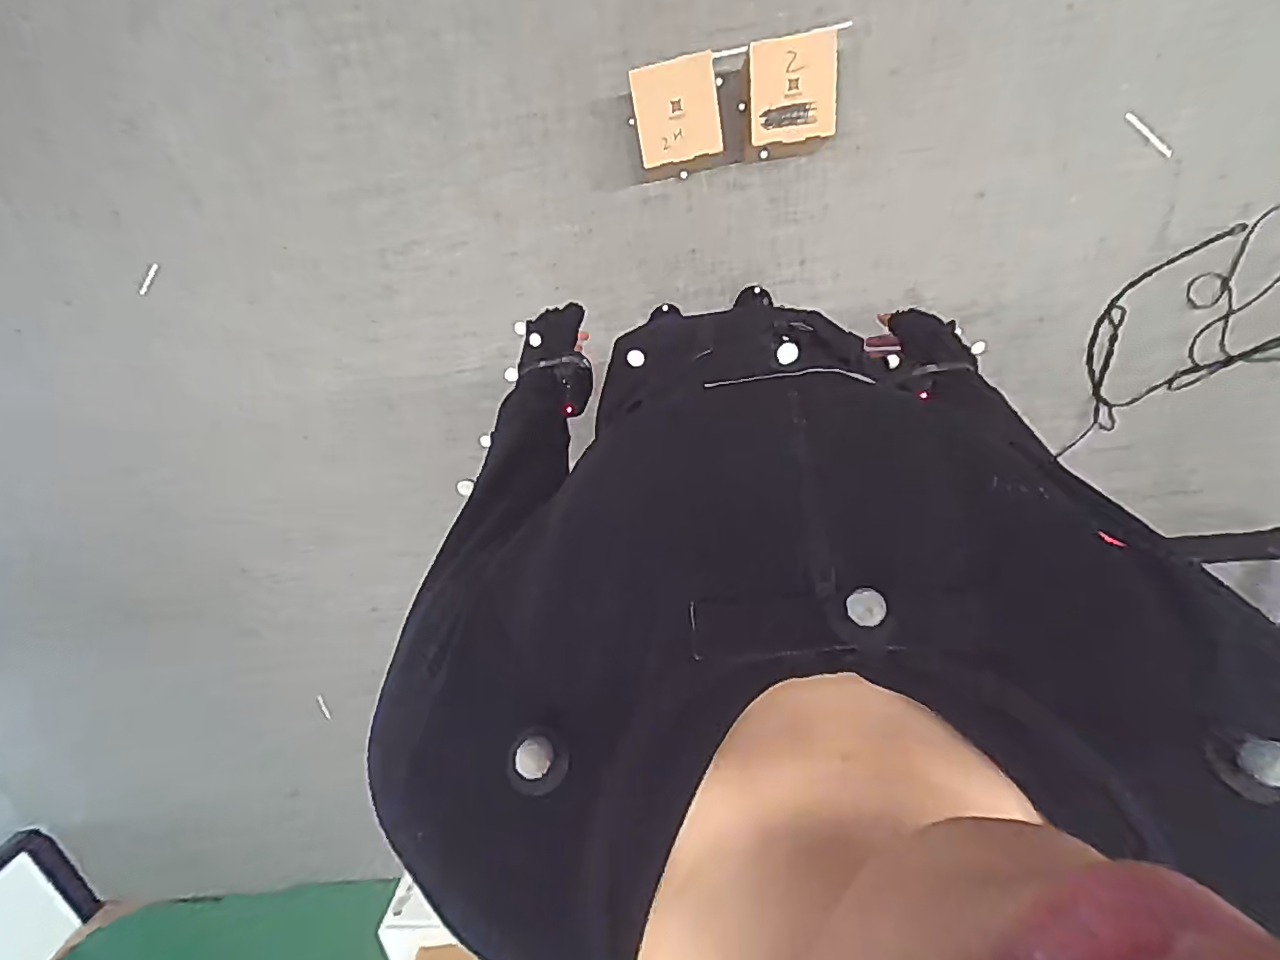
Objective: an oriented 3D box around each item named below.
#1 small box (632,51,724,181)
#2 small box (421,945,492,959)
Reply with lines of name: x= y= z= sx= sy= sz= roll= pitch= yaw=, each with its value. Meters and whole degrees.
small box: x=0.081 y=-0.759 z=1.146 sx=0.168 sy=0.176 sz=0.179 roll=-9 pitch=110 yaw=8
small box: x=-0.452 y=1.252 z=1.283 sx=0.179 sy=0.176 sz=0.168 roll=-11 pitch=109 yaw=8
